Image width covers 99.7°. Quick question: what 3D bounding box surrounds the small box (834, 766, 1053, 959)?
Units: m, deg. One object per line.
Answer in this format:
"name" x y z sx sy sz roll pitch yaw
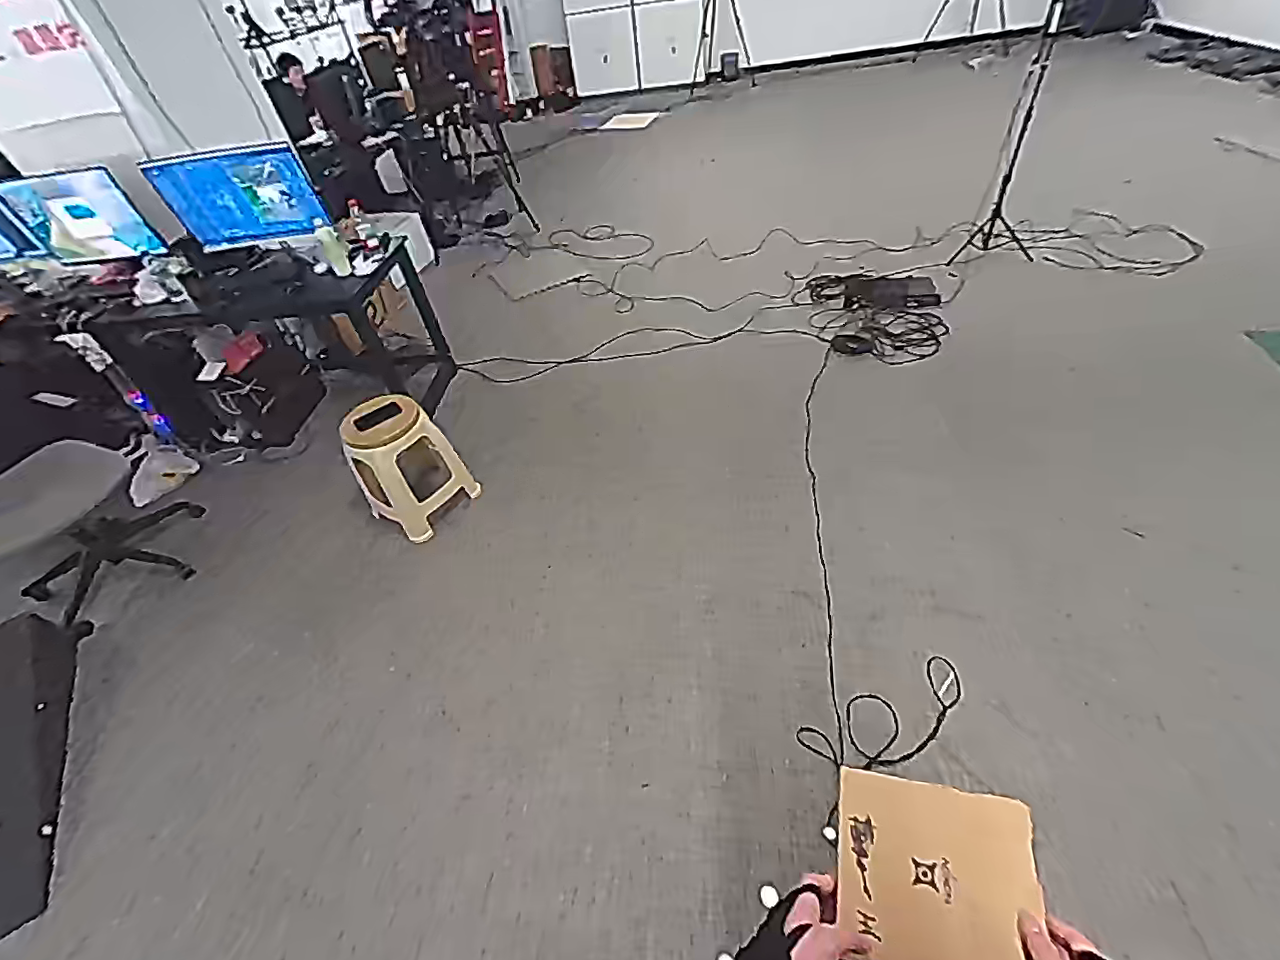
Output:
"small box" 0.305 0.430 0.578 0.179 0.176 0.168 2 52 21
